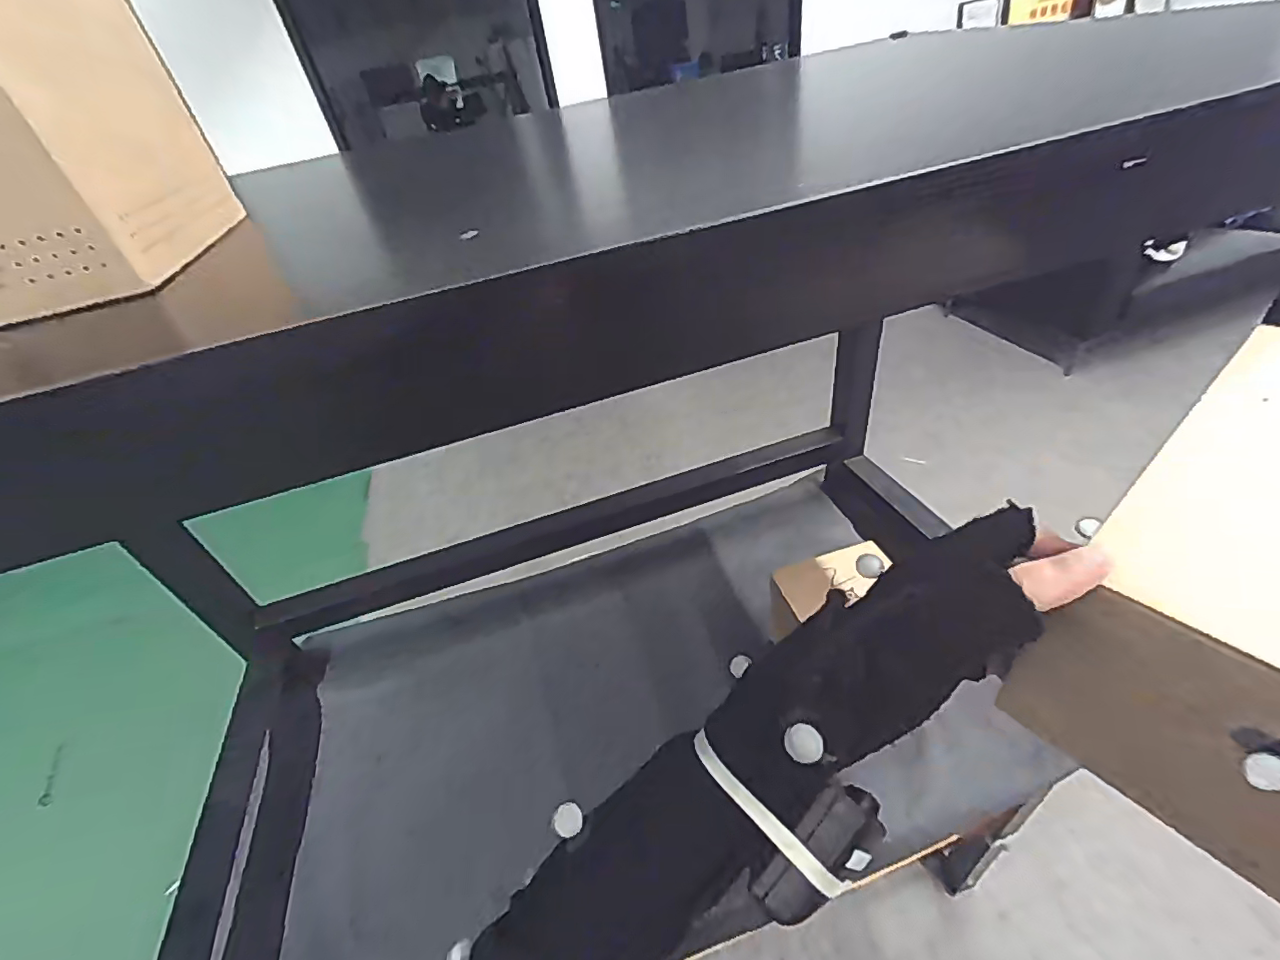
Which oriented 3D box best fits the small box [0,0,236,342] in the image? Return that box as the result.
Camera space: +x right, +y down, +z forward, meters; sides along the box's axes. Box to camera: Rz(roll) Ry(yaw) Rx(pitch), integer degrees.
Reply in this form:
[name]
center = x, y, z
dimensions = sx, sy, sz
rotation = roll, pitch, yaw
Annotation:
[small box]
center = -0.320, -0.157, 0.231
dimensions = 0.168, 0.176, 0.179
rotation = -19, 39, -9
